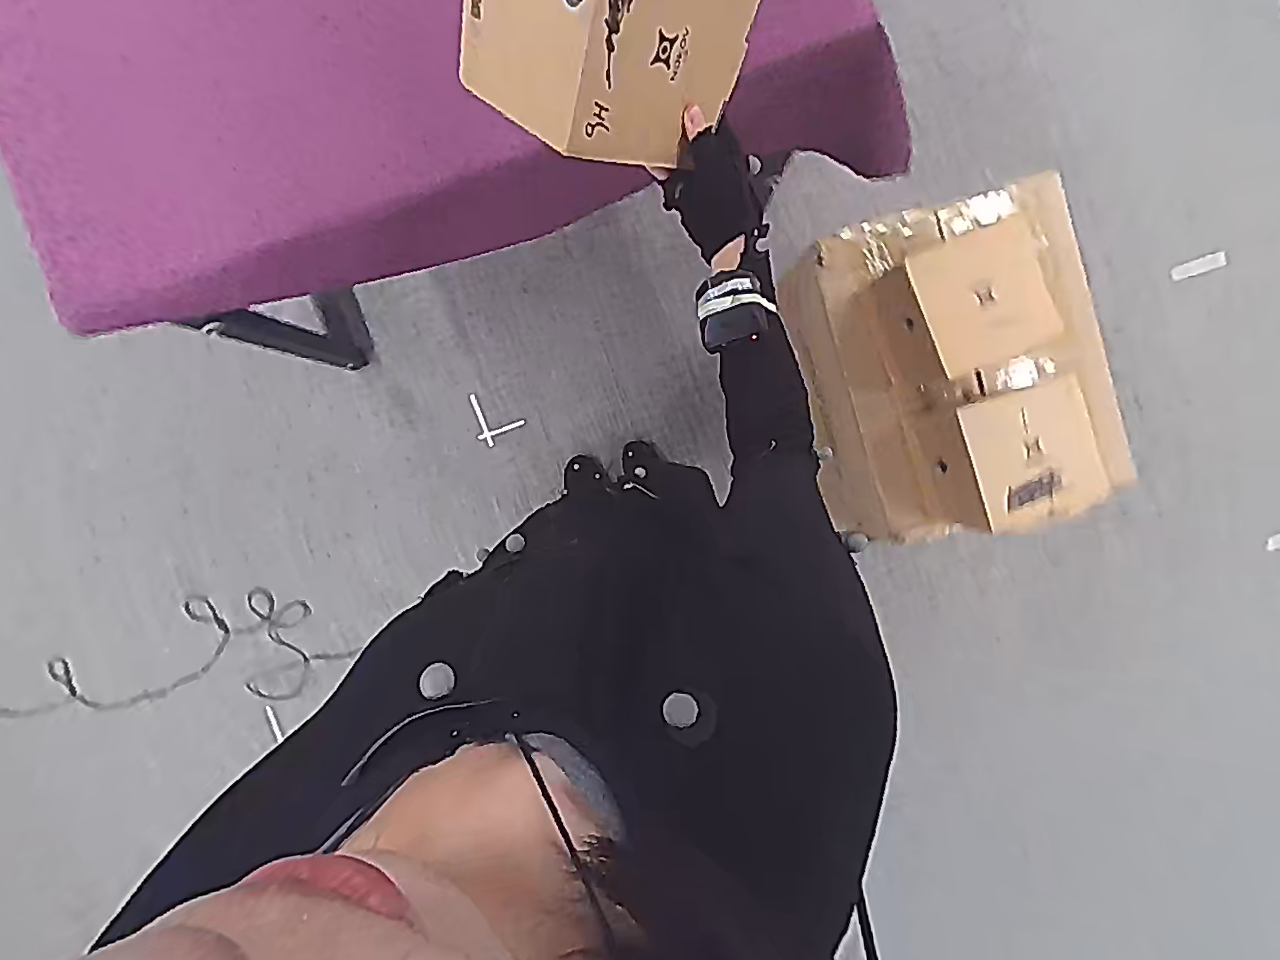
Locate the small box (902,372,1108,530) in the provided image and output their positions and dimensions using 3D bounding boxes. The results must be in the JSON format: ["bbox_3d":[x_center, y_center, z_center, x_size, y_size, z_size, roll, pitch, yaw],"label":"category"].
[{"bbox_3d":[0.522,-0.042,0.798,0.168,0.176,0.179,-18,91,2],"label":"small box"}]

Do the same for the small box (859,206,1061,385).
[{"bbox_3d":[0.449,-0.254,0.790,0.168,0.176,0.179,-23,94,3],"label":"small box"}]

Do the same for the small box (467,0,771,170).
[{"bbox_3d":[-0.019,-0.391,0.460,0.176,0.179,0.168,45,135,24],"label":"small box"}]
